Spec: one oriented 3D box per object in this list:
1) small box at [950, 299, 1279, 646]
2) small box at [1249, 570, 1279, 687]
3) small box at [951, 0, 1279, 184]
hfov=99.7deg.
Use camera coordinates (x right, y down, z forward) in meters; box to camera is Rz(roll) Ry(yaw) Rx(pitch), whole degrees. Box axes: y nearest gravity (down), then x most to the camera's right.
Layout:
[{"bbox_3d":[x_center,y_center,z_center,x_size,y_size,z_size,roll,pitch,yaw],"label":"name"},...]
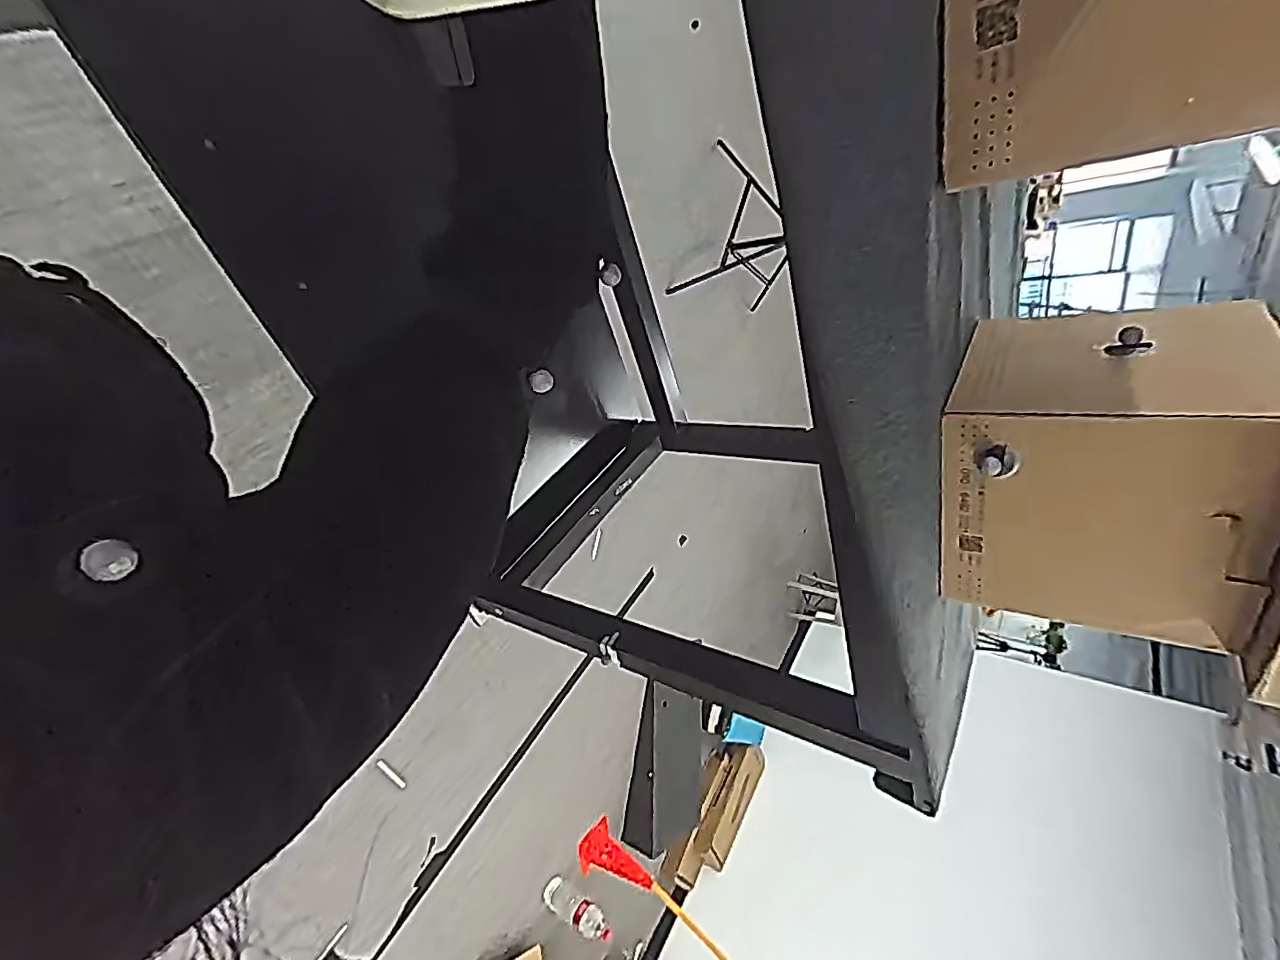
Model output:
[{"bbox_3d":[0.333,-0.016,0.395,0.179,0.176,0.168,-46,130,-41],"label":"small box"},{"bbox_3d":[0.446,0.019,0.280,0.179,0.176,0.168,-52,135,-36],"label":"small box"},{"bbox_3d":[0.243,-0.250,0.231,0.179,0.176,0.168,-49,132,-39],"label":"small box"}]
